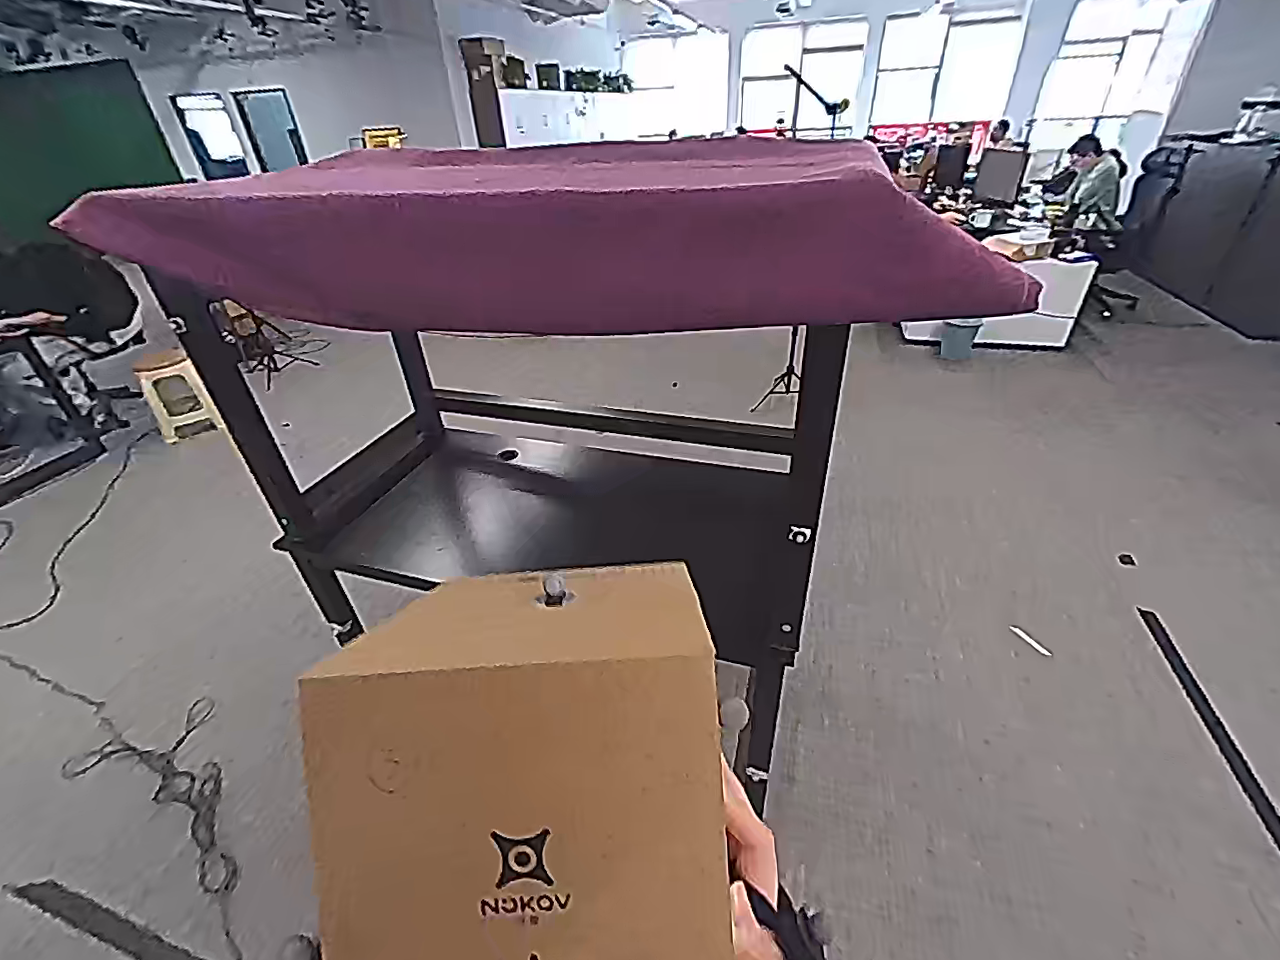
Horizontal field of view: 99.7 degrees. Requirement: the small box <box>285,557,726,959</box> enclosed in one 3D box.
[{"bbox_3d":[-0.049,0.140,0.289,0.168,0.179,0.176,-3,3,1],"label":"small box"}]
